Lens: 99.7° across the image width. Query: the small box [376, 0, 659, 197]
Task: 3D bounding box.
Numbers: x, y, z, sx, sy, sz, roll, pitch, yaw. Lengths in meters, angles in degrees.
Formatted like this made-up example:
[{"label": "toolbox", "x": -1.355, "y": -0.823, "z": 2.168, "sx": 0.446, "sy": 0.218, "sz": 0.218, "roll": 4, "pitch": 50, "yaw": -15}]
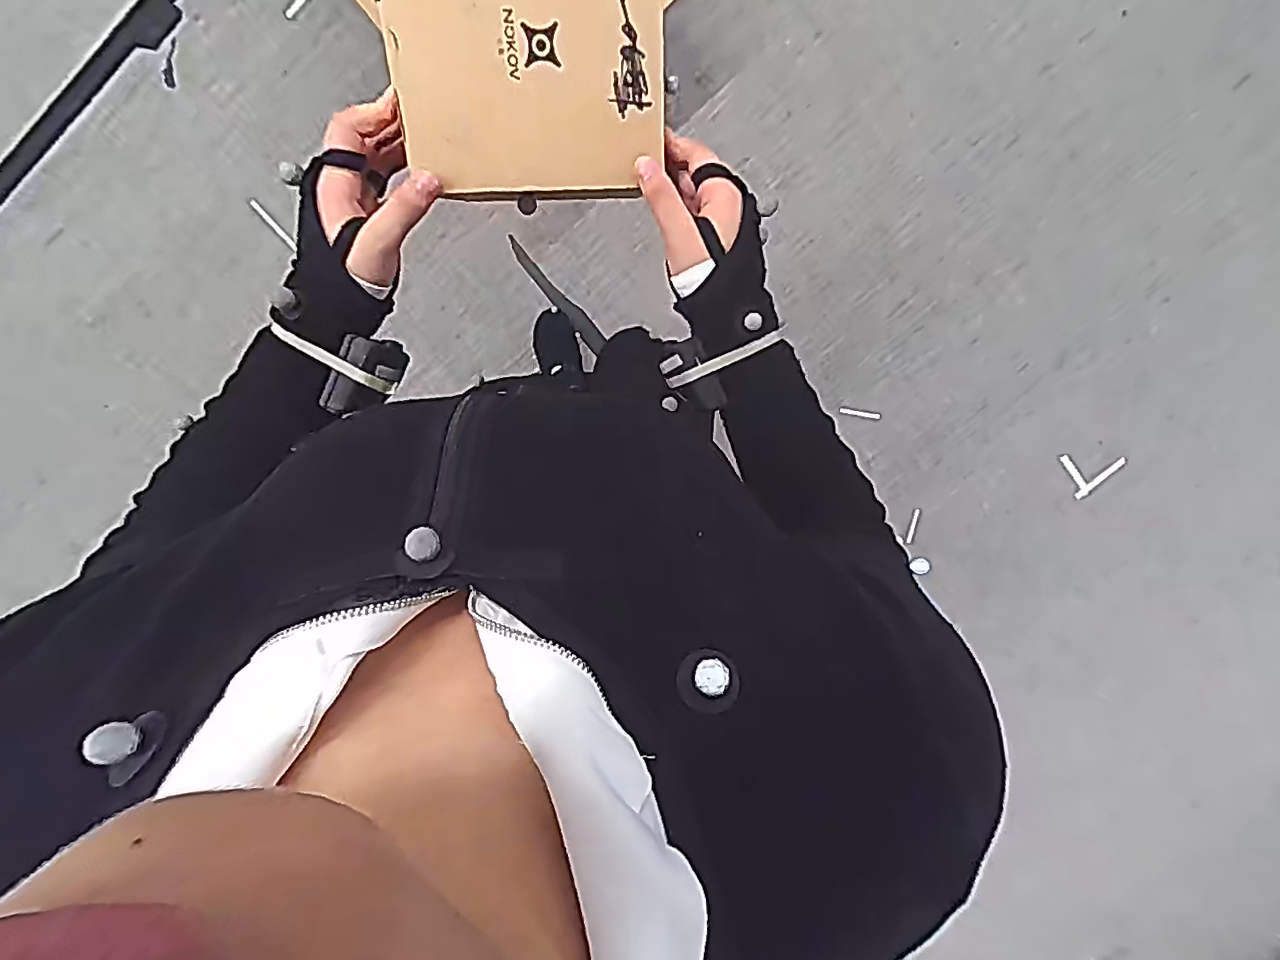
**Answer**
[{"label": "small box", "x": -0.080, "y": -0.313, "z": 0.412, "sx": 0.179, "sy": 0.176, "sz": 0.168, "roll": -4, "pitch": 116, "yaw": -4}]
